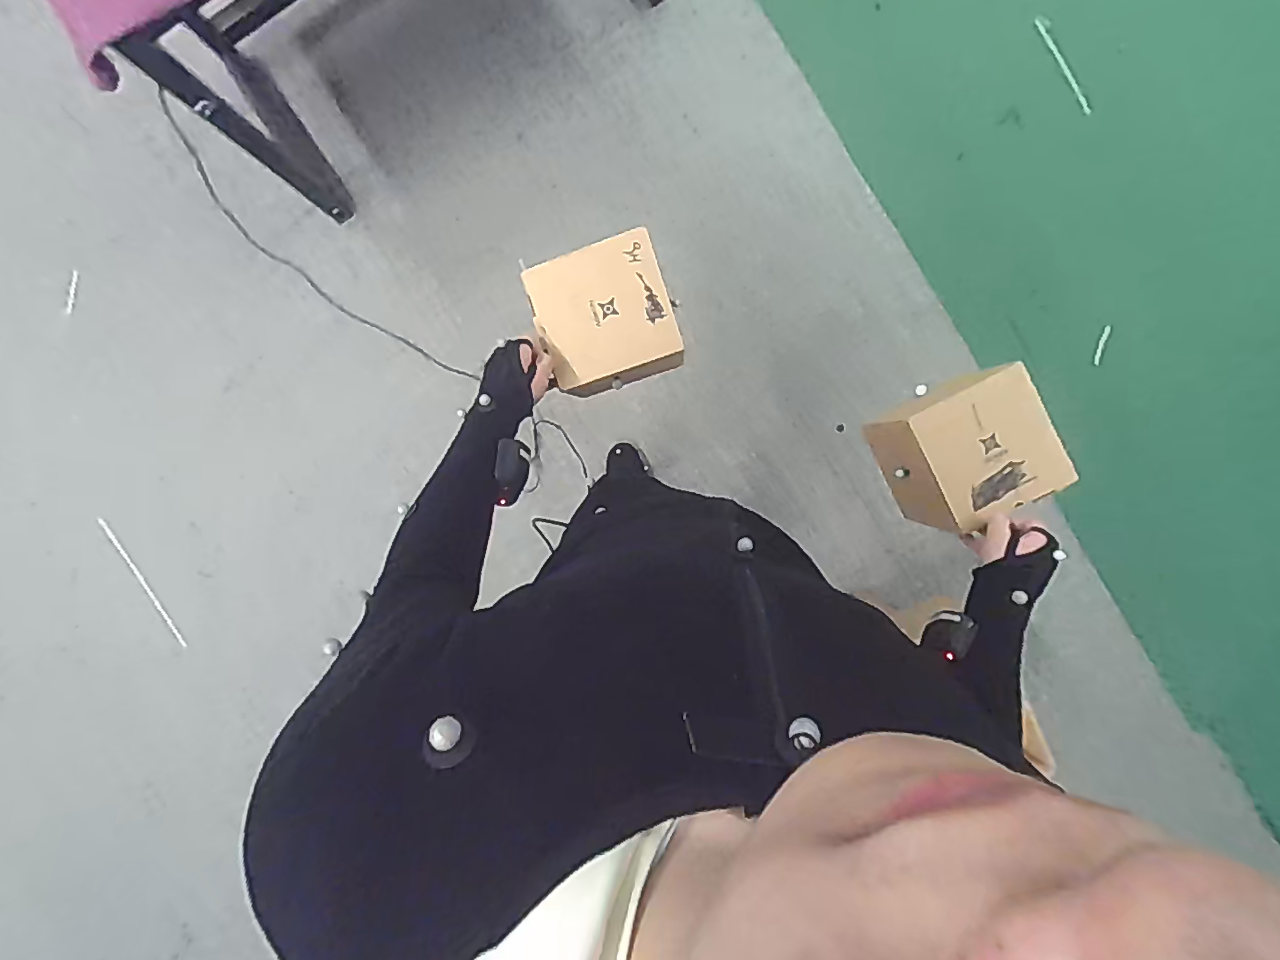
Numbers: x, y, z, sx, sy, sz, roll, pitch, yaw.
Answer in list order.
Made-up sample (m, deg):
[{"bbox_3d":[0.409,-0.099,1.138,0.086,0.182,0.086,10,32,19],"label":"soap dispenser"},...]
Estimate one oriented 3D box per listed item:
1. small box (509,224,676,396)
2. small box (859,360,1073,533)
[{"bbox_3d":[-0.055,-0.223,0.763,0.179,0.176,0.168,-18,94,6],"label":"small box"},{"bbox_3d":[0.447,-0.047,0.770,0.168,0.176,0.179,-27,92,3],"label":"small box"}]
